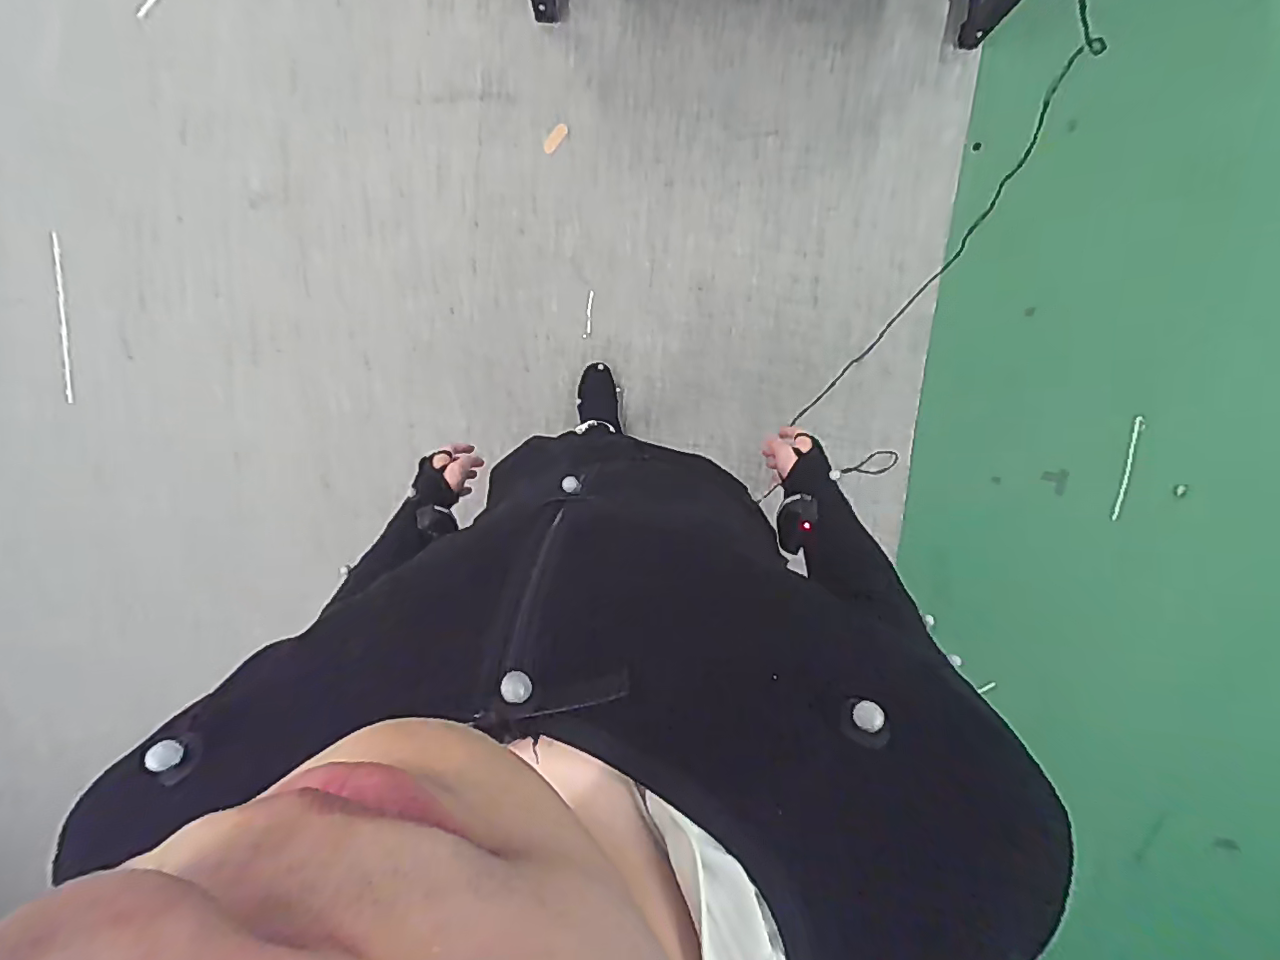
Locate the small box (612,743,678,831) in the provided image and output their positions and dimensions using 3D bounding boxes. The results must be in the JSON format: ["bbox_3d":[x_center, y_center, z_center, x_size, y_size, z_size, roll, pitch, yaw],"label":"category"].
[{"bbox_3d":[0.017,0.962,1.708,0.179,0.176,0.168,11,99,0],"label":"small box"}]
